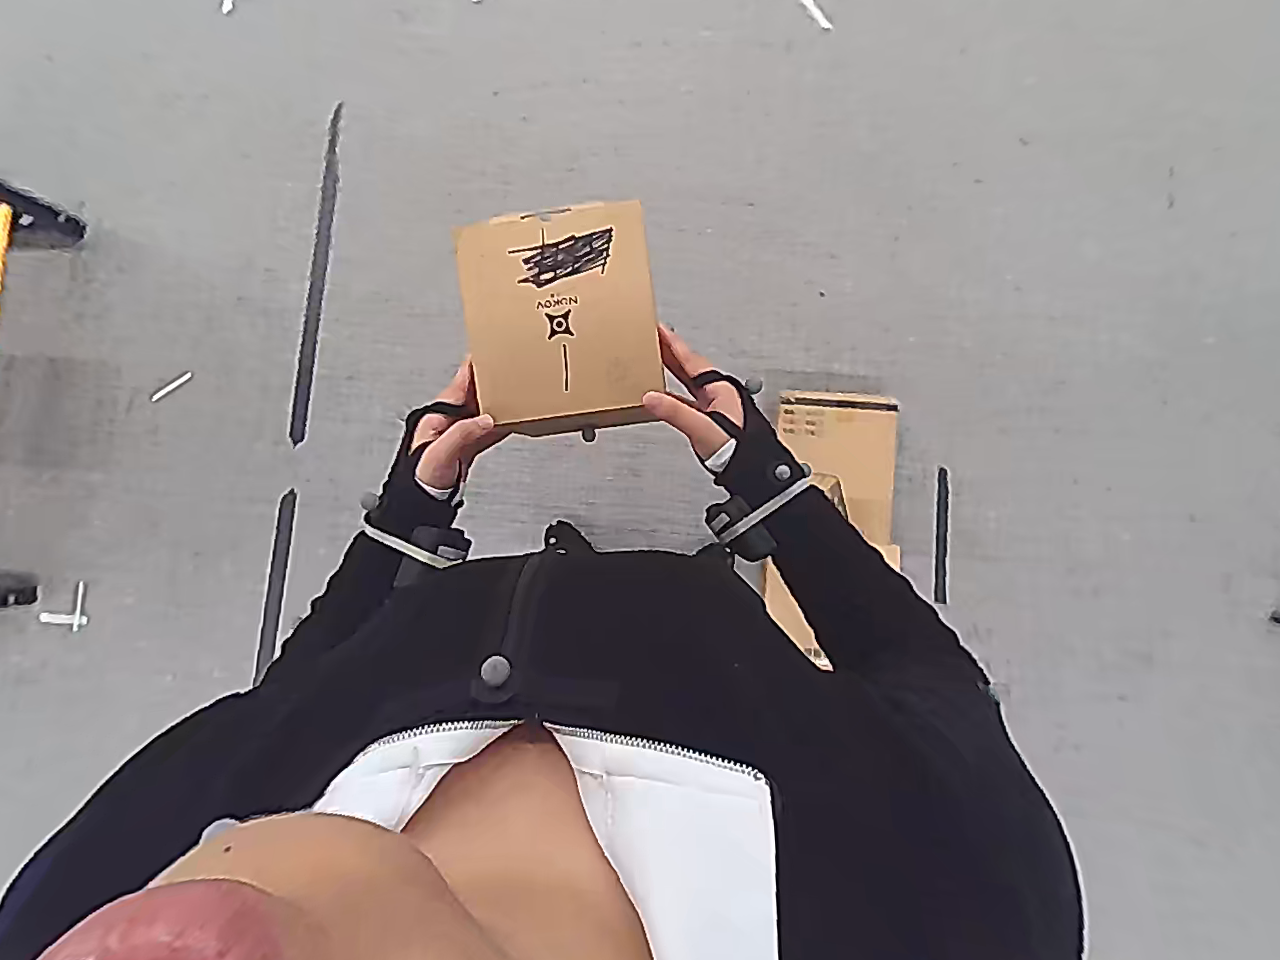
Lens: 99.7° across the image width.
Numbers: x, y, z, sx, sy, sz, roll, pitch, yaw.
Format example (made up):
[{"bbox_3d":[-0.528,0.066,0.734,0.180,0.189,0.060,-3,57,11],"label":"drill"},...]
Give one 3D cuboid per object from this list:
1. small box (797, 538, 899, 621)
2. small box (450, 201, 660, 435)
[{"bbox_3d":[0.483,0.226,1.273,0.179,0.176,0.168,4,86,4],"label":"small box"},{"bbox_3d":[-0.072,-0.146,0.548,0.168,0.176,0.179,-8,91,4],"label":"small box"}]
